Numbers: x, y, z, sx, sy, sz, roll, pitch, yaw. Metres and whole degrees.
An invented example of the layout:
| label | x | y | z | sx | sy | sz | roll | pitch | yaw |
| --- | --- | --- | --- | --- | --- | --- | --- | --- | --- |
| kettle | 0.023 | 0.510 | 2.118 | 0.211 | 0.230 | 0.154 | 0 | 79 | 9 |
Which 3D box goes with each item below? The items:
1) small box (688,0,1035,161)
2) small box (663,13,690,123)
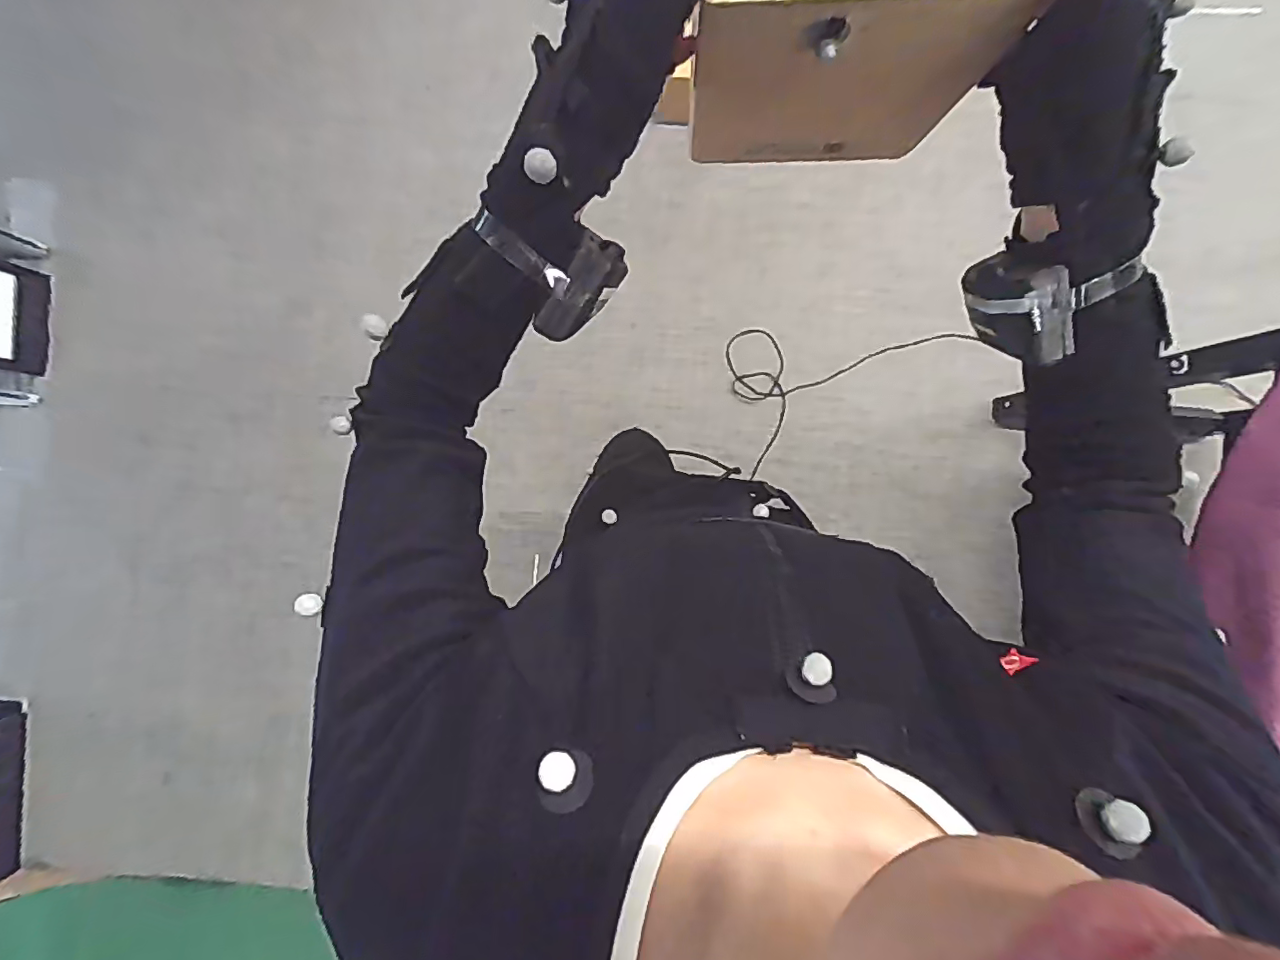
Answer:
| label | x | y | z | sx | sy | sz | roll | pitch | yaw |
| --- | --- | --- | --- | --- | --- | --- | --- | --- | --- |
| small box | 0.115 | -0.324 | 0.324 | 0.168 | 0.176 | 0.179 | 1 | 96 | 3 |
| small box | 0.152 | -1.059 | 1.404 | 0.179 | 0.176 | 0.168 | 4 | 90 | 1 |
